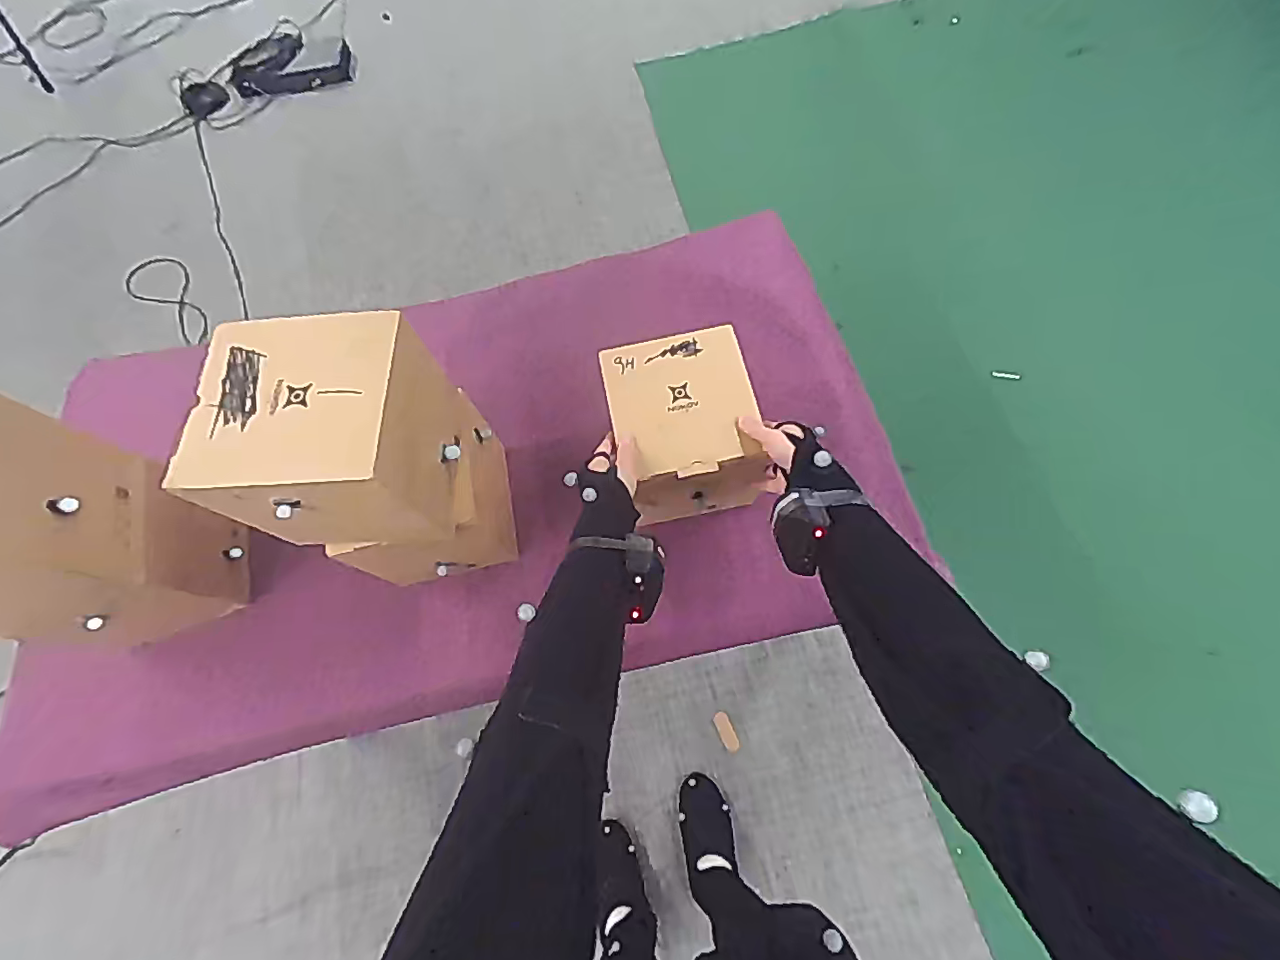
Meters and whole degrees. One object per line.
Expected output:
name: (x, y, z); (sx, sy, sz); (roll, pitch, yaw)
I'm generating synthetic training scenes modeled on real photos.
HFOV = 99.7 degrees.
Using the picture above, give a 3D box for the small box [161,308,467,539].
small box: (-0.291, -0.044, 0.528); (0.179, 0.176, 0.168); (-3, 68, 3)

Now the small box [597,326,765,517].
small box: (0.049, -0.061, 0.684); (0.168, 0.176, 0.179); (-11, 69, 0)

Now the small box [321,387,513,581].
small box: (-0.269, 0.013, 0.682); (0.168, 0.176, 0.179); (-13, 68, 0)

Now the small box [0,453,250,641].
small box: (-0.638, 0.093, 0.680); (0.179, 0.176, 0.168); (-18, 69, -3)
